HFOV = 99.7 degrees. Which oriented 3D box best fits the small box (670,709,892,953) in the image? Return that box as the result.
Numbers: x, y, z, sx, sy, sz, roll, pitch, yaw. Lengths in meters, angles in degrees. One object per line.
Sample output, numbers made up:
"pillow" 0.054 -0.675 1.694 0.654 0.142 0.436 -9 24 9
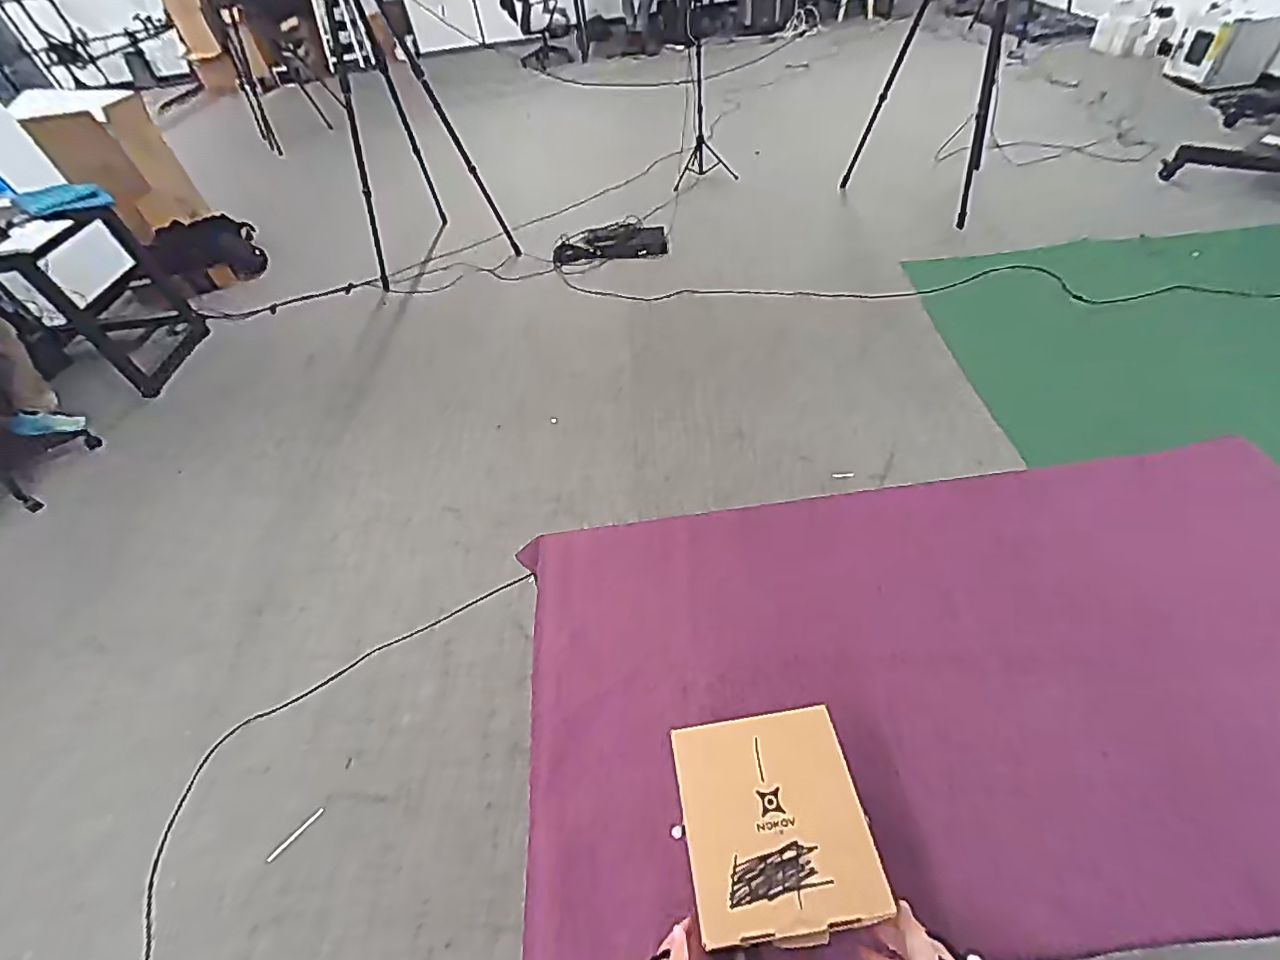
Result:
"small box" 0.131 0.365 0.561 0.168 0.176 0.179 -10 47 0
